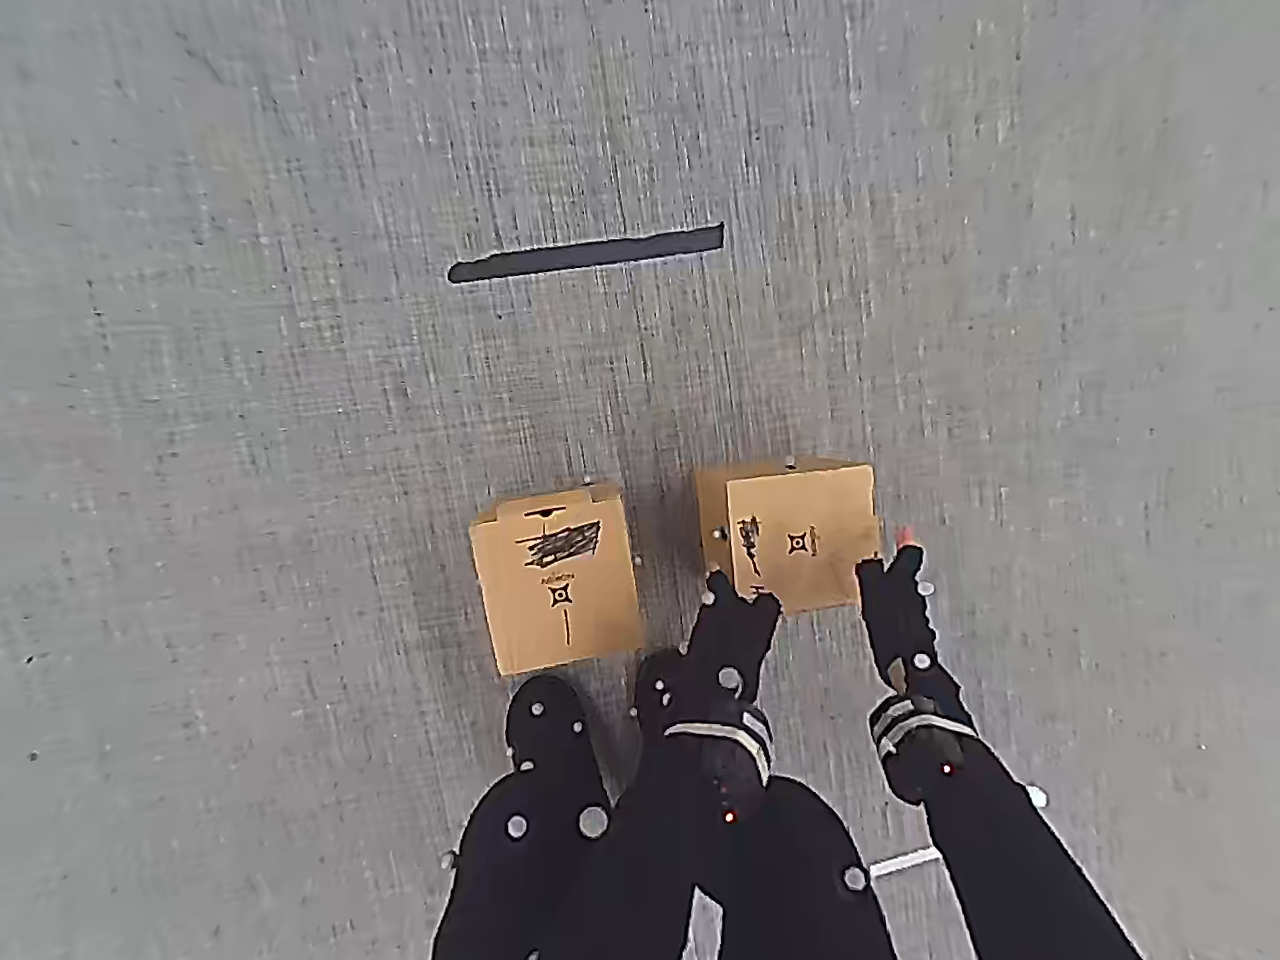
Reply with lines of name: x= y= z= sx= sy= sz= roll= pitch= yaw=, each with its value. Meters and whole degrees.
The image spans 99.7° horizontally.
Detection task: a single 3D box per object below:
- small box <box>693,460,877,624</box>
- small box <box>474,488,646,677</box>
small box: x=0.177 y=0.067 z=0.695 sx=0.179 sy=0.176 sz=0.168 roll=-6 pitch=97 yaw=-7
small box: x=-0.095 y=0.109 z=0.664 sx=0.168 sy=0.176 sz=0.179 roll=-10 pitch=98 yaw=-6
